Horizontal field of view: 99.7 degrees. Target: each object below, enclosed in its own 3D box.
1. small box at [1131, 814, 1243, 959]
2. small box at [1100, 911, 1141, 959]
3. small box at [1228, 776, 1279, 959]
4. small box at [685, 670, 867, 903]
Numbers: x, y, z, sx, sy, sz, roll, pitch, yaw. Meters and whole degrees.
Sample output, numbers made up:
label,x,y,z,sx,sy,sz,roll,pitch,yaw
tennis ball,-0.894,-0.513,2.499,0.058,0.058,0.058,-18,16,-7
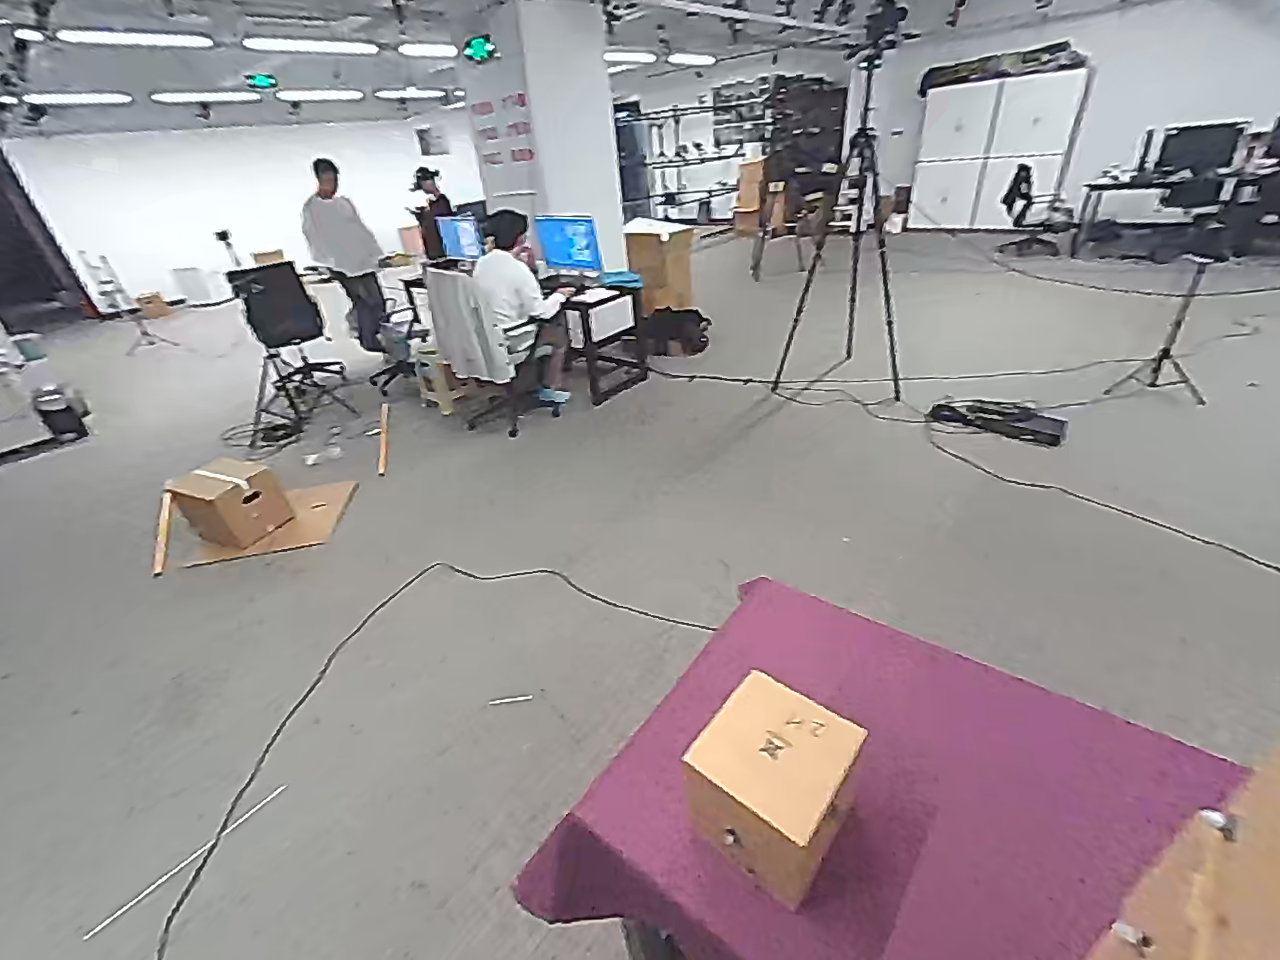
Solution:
label,x,y,z,sx,sy,sz,roll,pitch,yaw
small box,0.467,0.392,0.372,0.179,0.176,0.168,22,42,39
small box,0.488,0.534,0.453,0.179,0.176,0.168,20,40,36
small box,0.457,0.256,0.279,0.179,0.176,0.168,23,42,38
small box,0.181,0.402,0.721,0.168,0.176,0.179,21,41,37
